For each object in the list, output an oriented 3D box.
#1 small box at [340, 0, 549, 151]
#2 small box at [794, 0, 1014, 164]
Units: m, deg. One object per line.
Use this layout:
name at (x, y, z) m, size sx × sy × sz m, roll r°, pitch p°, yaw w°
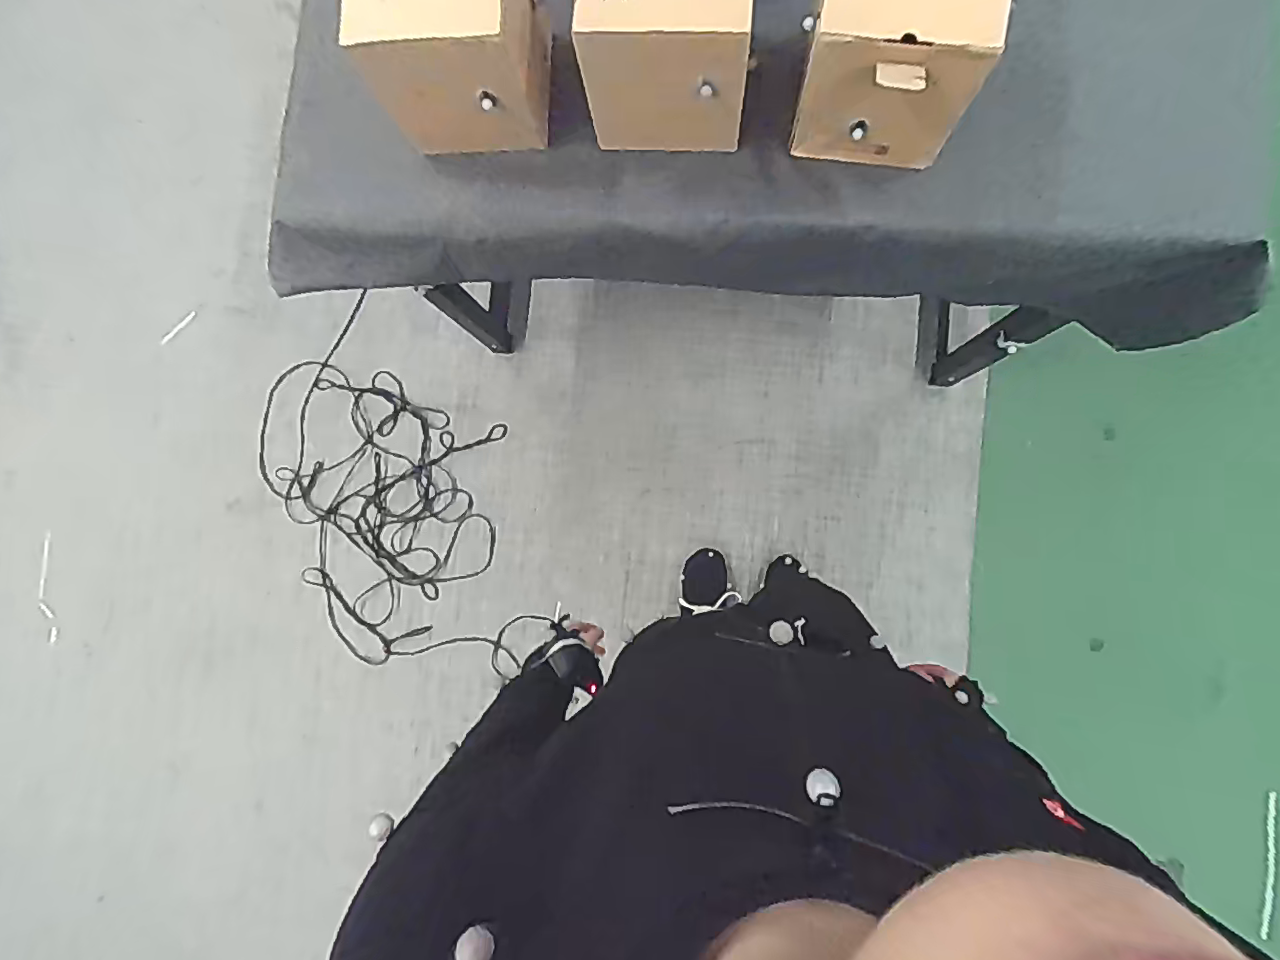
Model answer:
small box at (-0.211, -0.516, 0.629) m, size 0.179 × 0.176 × 0.168 m, roll 1°, pitch 85°, yaw 7°
small box at (0.270, -0.480, 0.575) m, size 0.168 × 0.176 × 0.179 m, roll 10°, pitch 87°, yaw 6°
